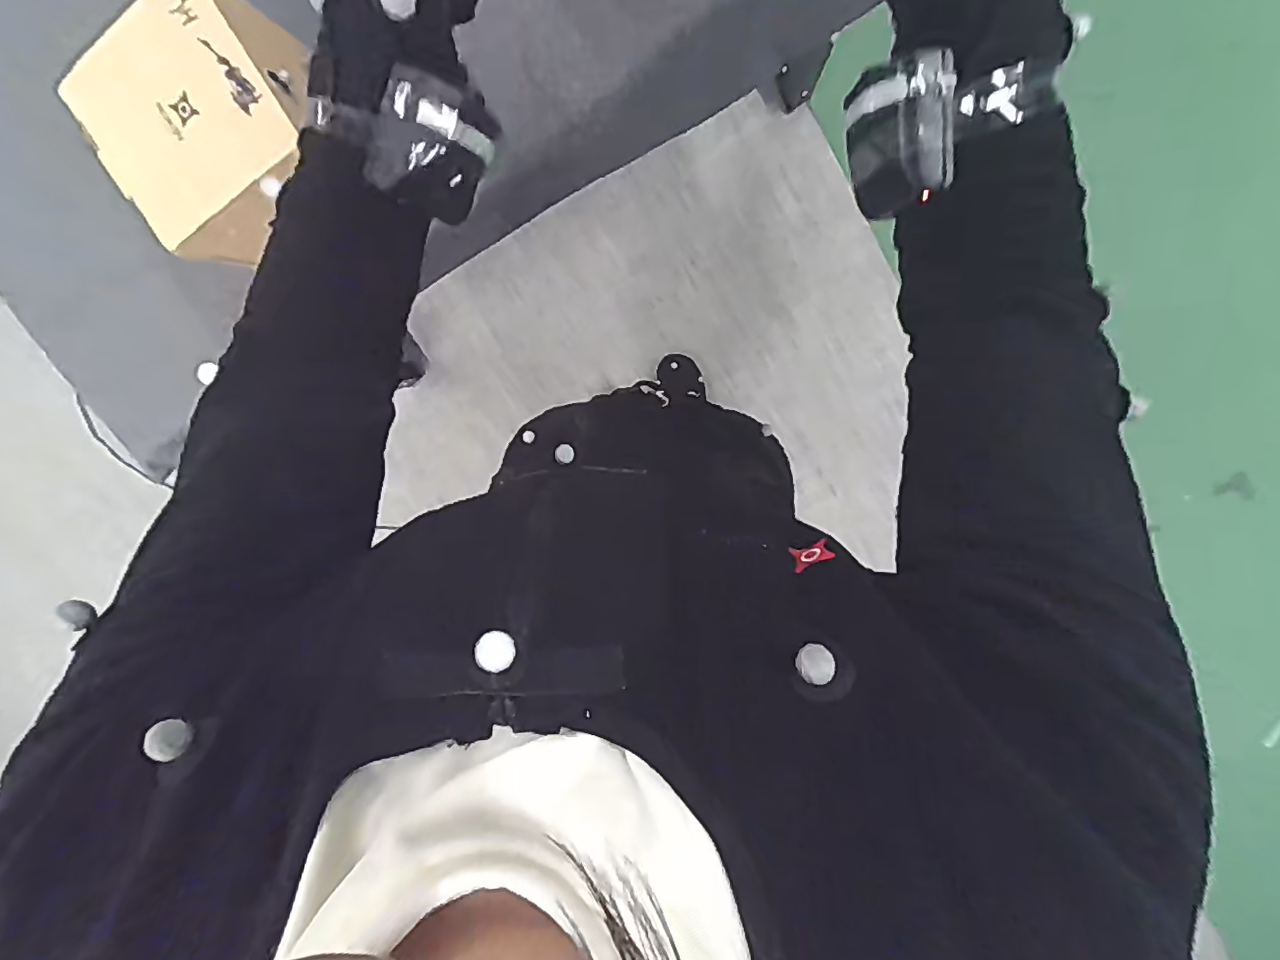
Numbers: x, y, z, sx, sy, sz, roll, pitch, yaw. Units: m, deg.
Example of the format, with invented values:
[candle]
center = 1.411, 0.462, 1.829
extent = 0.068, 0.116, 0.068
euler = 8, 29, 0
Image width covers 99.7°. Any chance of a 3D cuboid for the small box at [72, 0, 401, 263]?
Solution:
[small box]
center = -0.393, -0.349, 0.558
extent = 0.179, 0.176, 0.168
euler = -28, 99, 13
